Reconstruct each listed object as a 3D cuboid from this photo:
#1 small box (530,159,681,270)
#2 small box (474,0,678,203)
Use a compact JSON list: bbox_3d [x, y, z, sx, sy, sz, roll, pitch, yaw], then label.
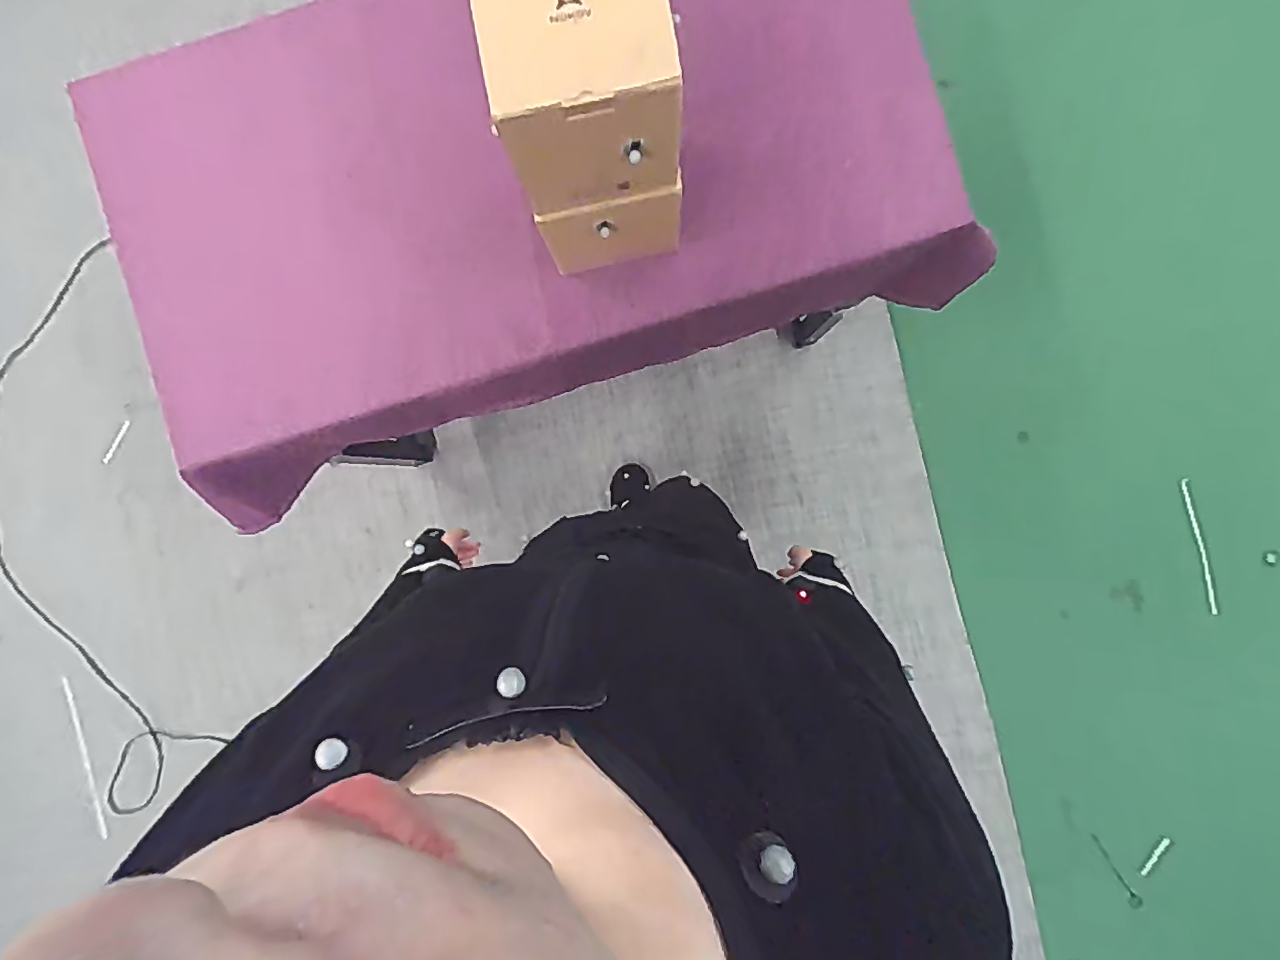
[{"bbox_3d":[-0.045,-0.393,0.702,0.179,0.176,0.168,-10,90,3],"label":"small box"},{"bbox_3d":[-0.055,-0.403,0.540,0.168,0.176,0.179,-10,89,2],"label":"small box"}]
